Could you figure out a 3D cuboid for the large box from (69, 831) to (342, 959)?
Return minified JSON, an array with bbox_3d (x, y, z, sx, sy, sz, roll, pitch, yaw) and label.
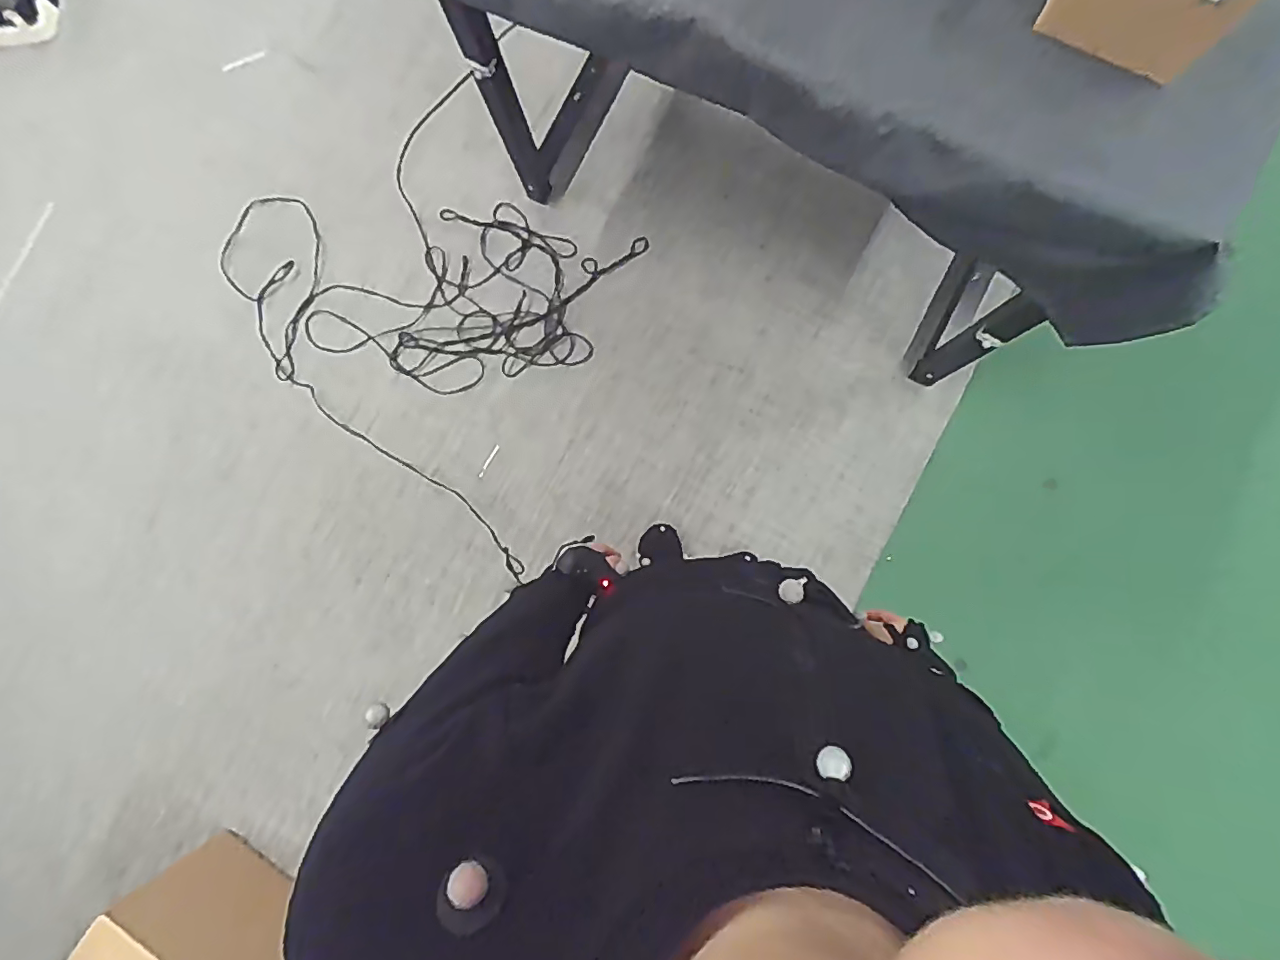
[{"bbox_3d":[-0.991,1.113,1.217,0.408,0.320,0.320,32,88,7],"label":"large box"}]
